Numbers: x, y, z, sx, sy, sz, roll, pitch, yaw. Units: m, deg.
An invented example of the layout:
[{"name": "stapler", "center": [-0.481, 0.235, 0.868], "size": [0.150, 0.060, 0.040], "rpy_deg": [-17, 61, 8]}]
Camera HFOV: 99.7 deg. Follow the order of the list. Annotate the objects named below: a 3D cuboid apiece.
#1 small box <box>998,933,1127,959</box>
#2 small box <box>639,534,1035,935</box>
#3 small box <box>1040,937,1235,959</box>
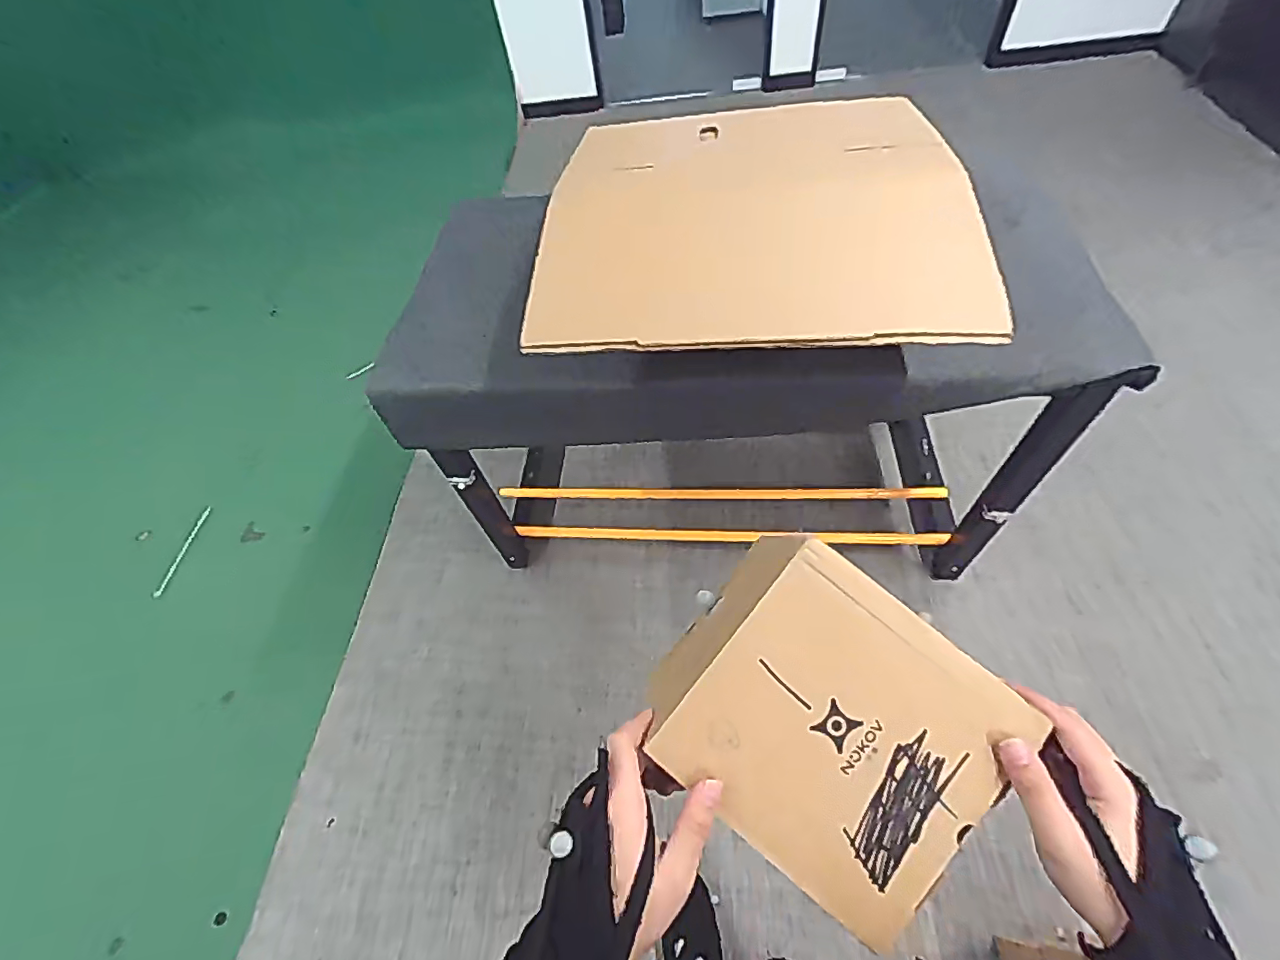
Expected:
[{"name": "small box", "center": [0.718, 0.844, 0.866], "size": [0.168, 0.176, 0.179], "rpy_deg": [-5, 54, 4]}, {"name": "small box", "center": [0.119, 0.153, 0.399], "size": [0.179, 0.176, 0.168], "rpy_deg": [39, 86, 6]}, {"name": "small box", "center": [0.705, 0.741, 0.738], "size": [0.179, 0.176, 0.168], "rpy_deg": [-5, 54, 5]}]
